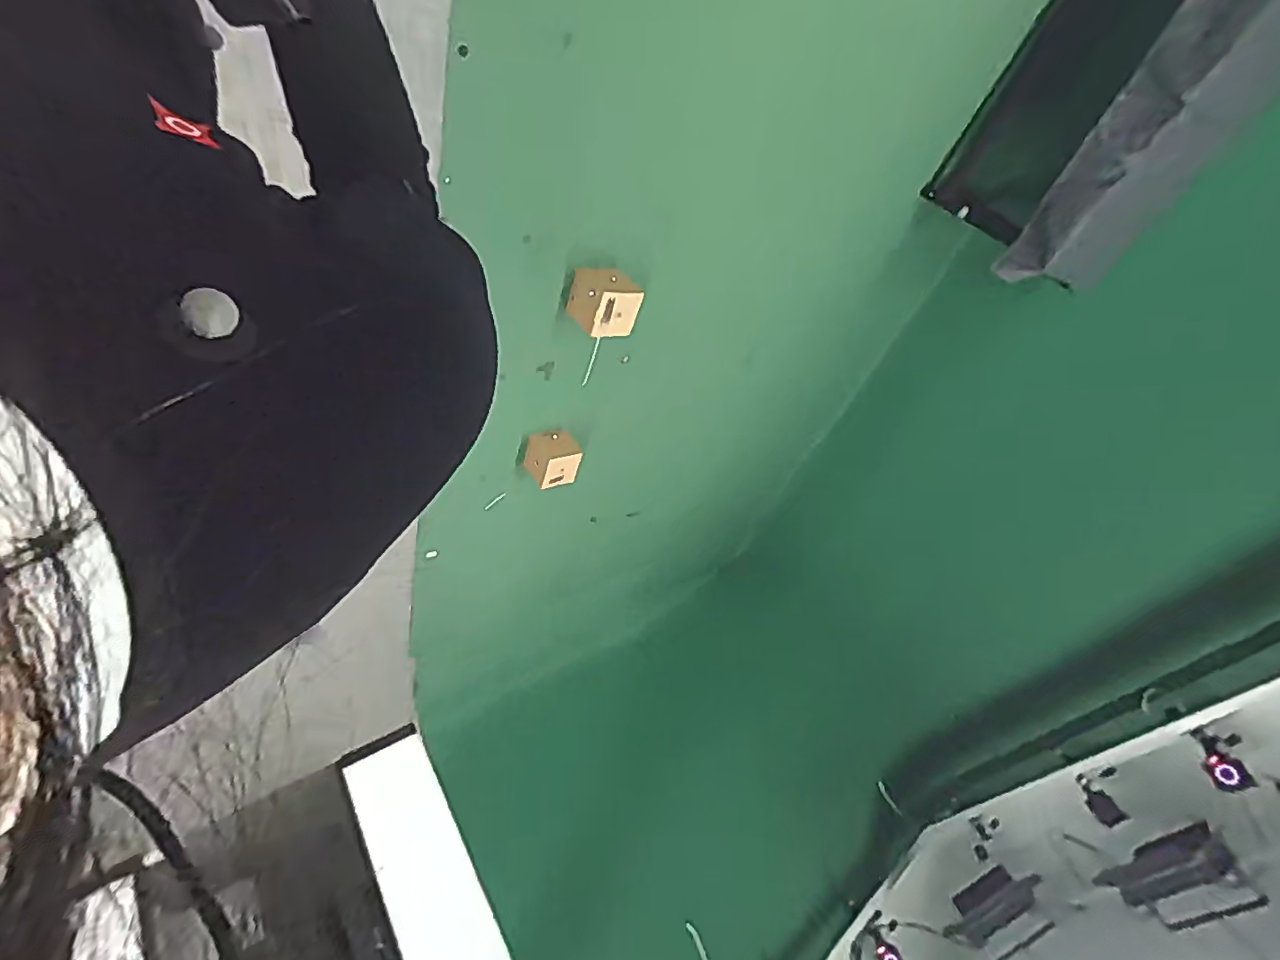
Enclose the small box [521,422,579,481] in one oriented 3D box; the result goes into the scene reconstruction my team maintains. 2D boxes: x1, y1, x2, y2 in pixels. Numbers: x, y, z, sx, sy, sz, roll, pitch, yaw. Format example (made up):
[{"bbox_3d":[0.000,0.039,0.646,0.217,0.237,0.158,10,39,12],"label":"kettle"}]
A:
[{"bbox_3d":[-0.389,-0.124,2.304,0.168,0.176,0.179,-15,144,-38],"label":"small box"}]
